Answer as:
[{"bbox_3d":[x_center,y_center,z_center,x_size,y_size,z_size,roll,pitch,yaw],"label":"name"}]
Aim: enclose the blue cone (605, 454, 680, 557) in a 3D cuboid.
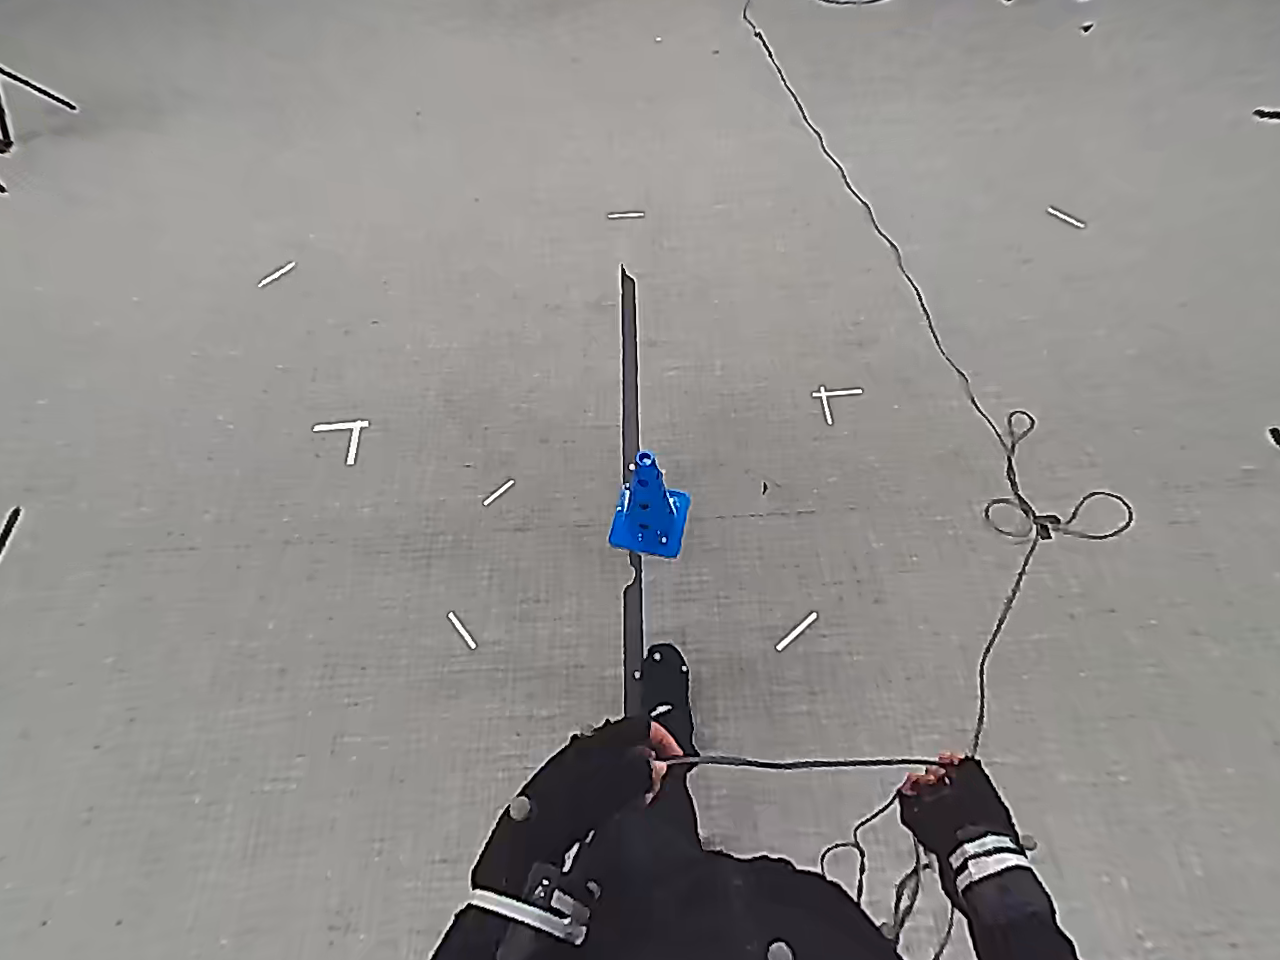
[{"bbox_3d":[0.000,0.042,1.369,0.192,0.380,0.193,11,64,9],"label":"blue cone"}]
